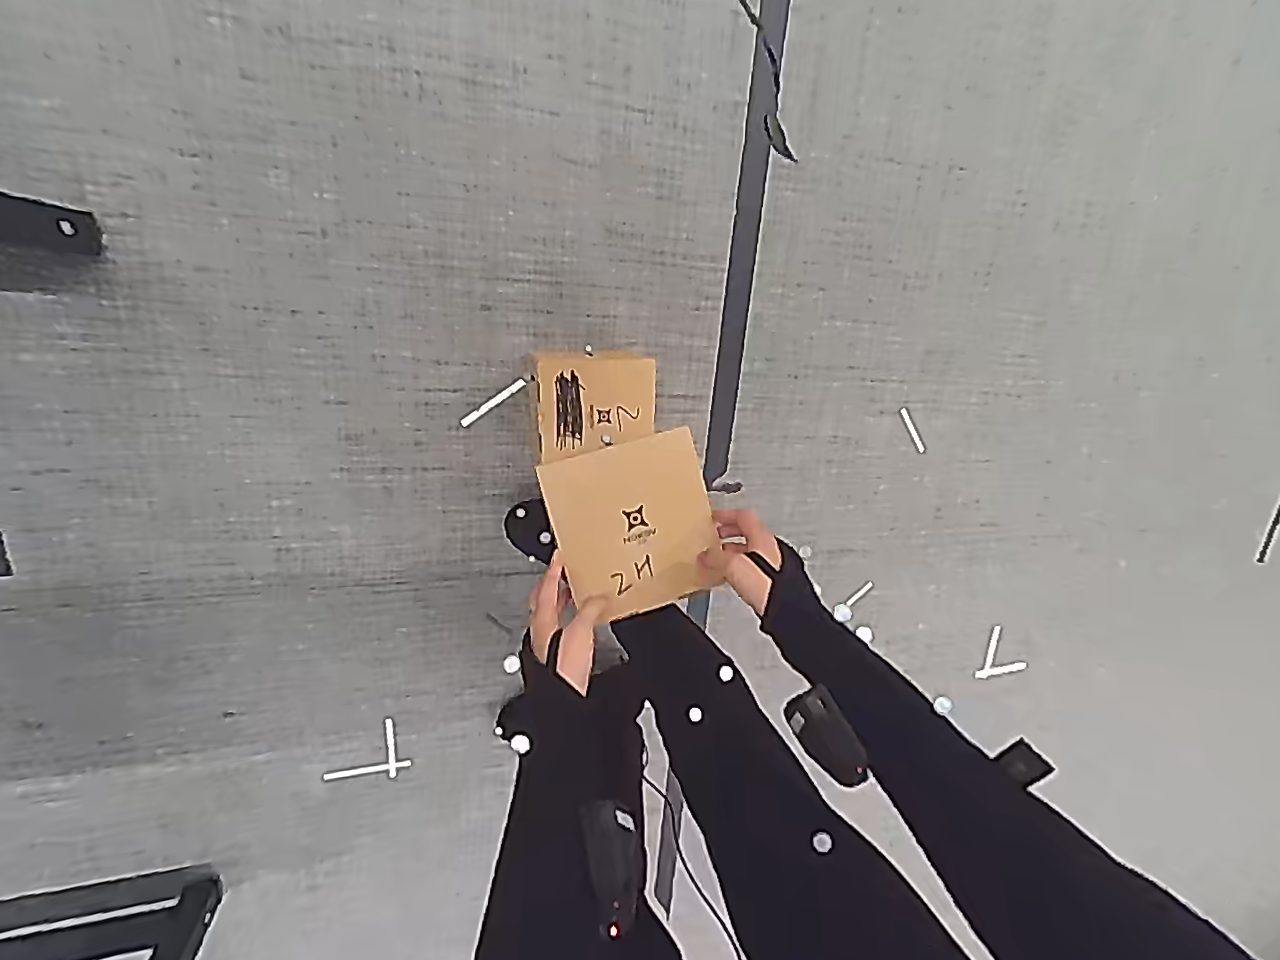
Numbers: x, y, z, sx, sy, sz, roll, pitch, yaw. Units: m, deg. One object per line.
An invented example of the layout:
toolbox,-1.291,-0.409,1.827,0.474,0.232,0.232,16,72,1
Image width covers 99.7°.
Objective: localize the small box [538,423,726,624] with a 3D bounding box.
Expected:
small box,-0.021,0.042,0.634,0.168,0.176,0.179,-16,95,-10
